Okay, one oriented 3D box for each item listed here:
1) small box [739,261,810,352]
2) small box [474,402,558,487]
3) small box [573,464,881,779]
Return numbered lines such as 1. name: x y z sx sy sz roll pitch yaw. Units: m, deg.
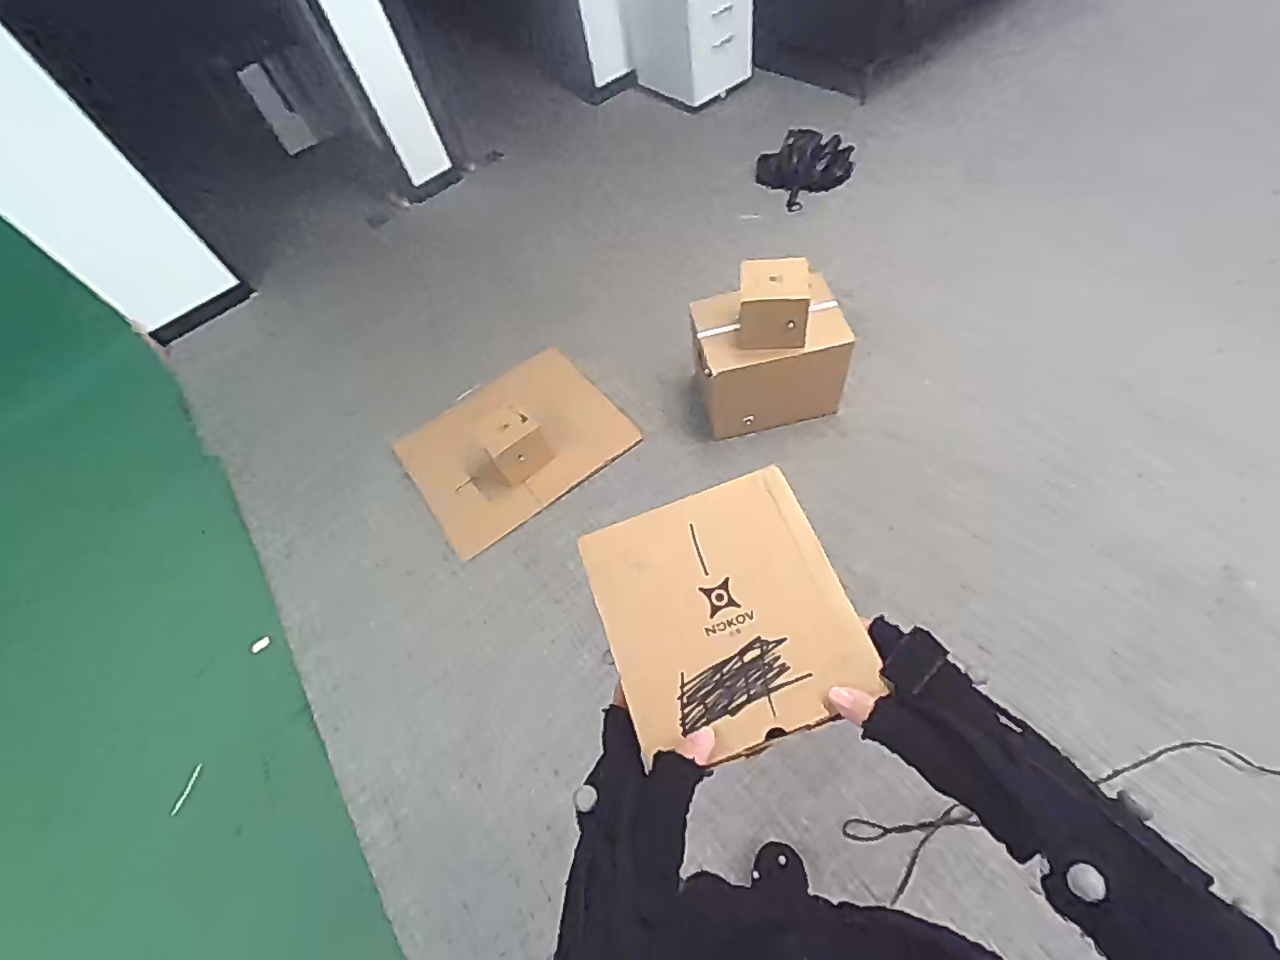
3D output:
1. small box: 0.360 -0.467 1.470 0.179 0.176 0.168 -1 57 12
2. small box: -0.396 -0.110 1.749 0.179 0.176 0.168 -41 57 -14
3. small box: 0.064 0.119 0.456 0.168 0.176 0.179 -23 67 -3
